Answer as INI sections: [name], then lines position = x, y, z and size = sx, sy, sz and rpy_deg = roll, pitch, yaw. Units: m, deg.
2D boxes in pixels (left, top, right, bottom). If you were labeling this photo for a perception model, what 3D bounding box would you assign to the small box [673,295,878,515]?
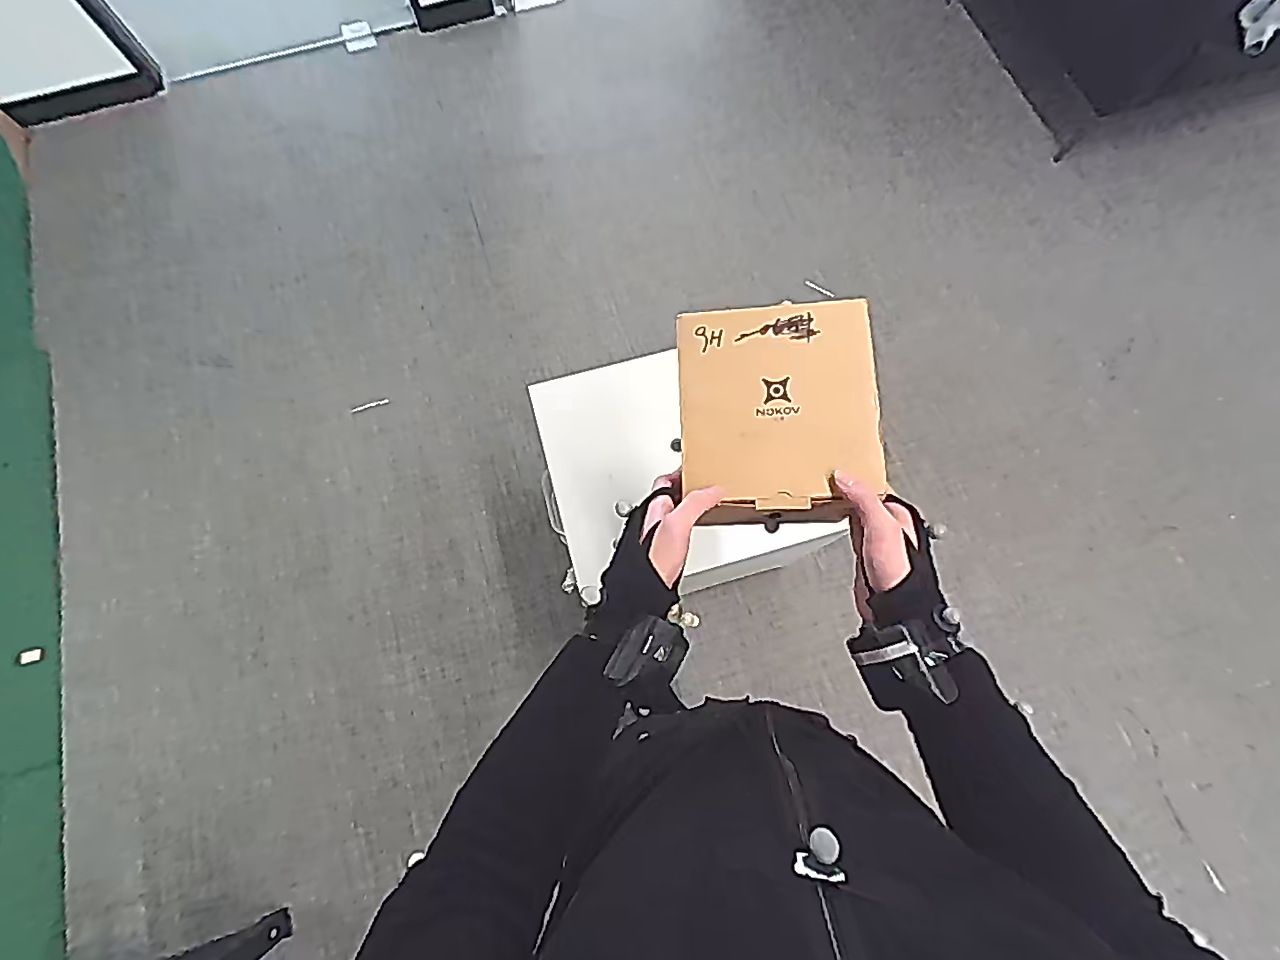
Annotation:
[small box]
position = 0.126, -0.059, 0.549
size = 0.168, 0.176, 0.179
rpy_deg = -4, 78, 8
